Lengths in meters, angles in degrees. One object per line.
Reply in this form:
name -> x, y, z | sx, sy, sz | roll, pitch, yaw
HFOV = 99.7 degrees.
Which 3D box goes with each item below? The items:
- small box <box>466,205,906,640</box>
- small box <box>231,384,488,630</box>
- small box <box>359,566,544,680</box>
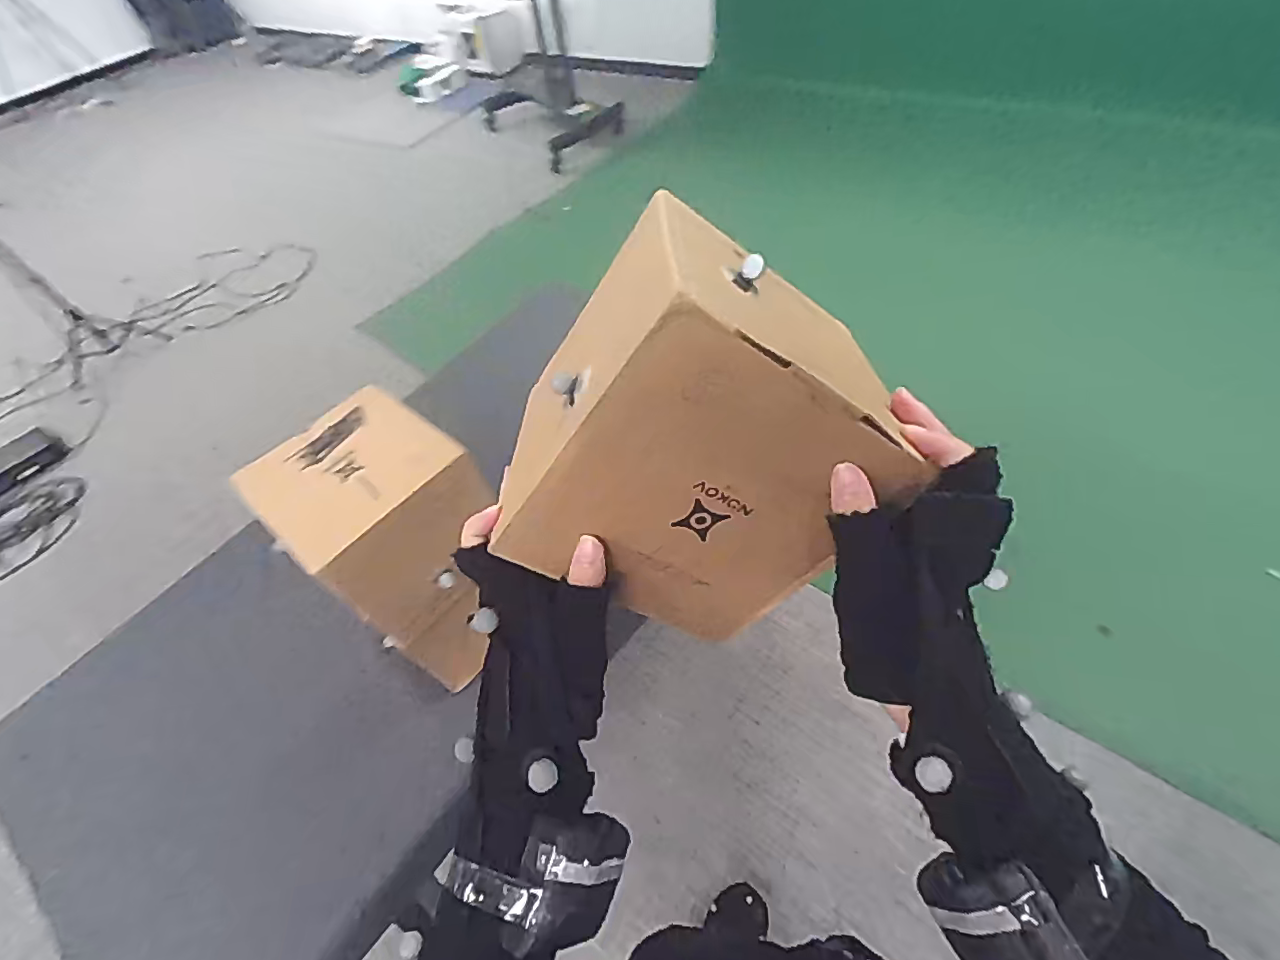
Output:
small box -> 0.015, -0.036, 0.338 | 0.168, 0.179, 0.176 | 25, 36, -20
small box -> -0.273, 0.031, 0.581 | 0.179, 0.176, 0.168 | 27, 62, 29
small box -> -0.252, 0.130, 0.711 | 0.168, 0.176, 0.179 | 31, 64, 28
